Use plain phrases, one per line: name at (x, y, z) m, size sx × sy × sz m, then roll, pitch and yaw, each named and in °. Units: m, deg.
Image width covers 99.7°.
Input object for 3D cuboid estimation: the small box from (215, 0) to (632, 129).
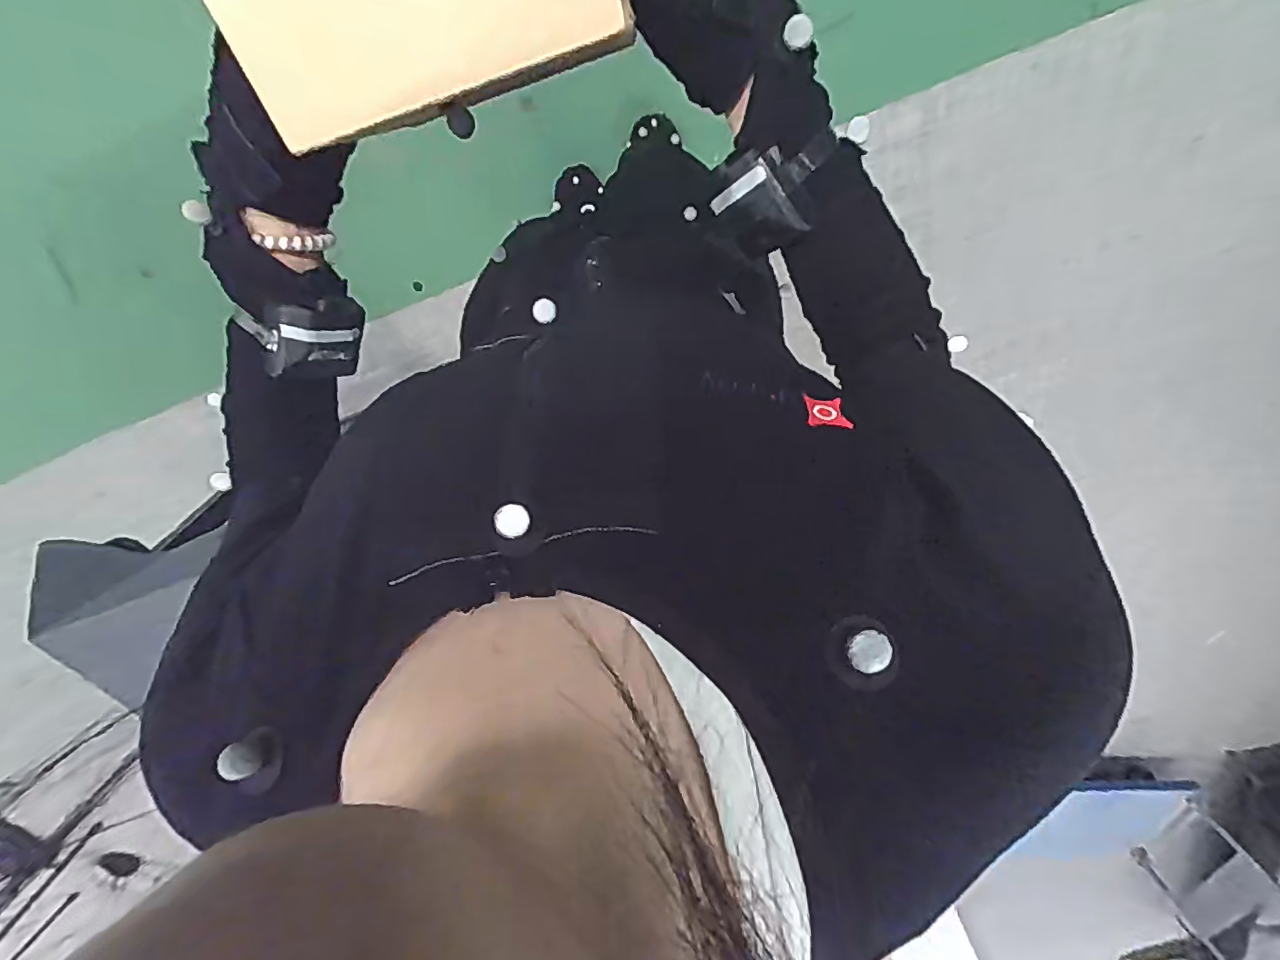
small box at (-0.104, -0.292, 0.249) m, size 0.168 × 0.176 × 0.179 m, roll -12°, pitch 125°, yaw 10°
